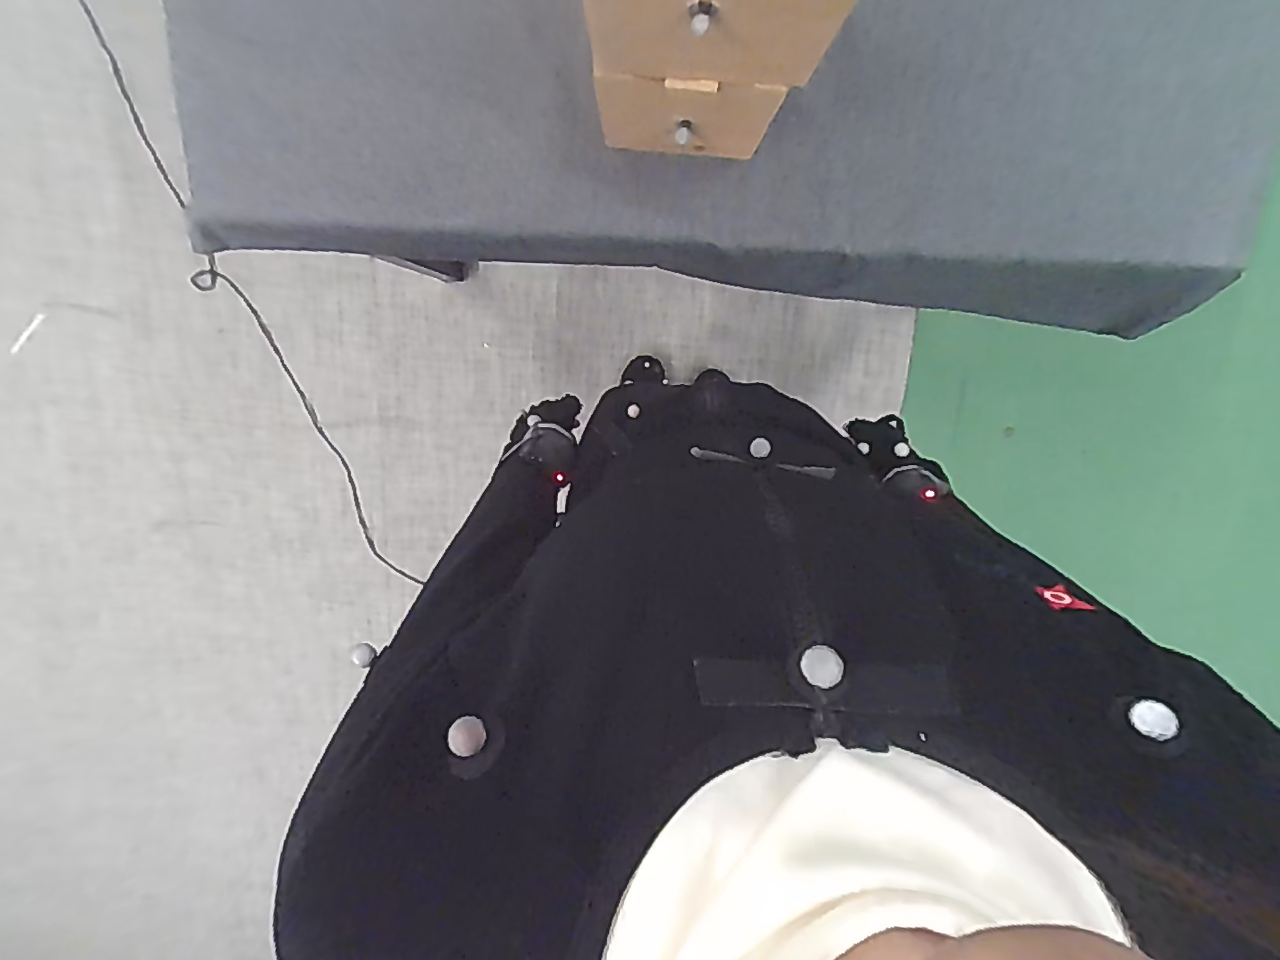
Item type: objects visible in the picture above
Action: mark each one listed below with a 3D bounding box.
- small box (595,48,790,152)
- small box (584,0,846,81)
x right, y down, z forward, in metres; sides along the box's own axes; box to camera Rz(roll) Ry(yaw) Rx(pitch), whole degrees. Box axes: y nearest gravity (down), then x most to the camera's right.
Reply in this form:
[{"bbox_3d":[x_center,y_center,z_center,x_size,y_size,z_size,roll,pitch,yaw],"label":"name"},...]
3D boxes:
[{"bbox_3d":[0.053,-0.431,0.506,0.168,0.176,0.179,4,104,1],"label":"small box"},{"bbox_3d":[0.054,-0.389,0.347,0.179,0.176,0.168,4,103,2],"label":"small box"}]
